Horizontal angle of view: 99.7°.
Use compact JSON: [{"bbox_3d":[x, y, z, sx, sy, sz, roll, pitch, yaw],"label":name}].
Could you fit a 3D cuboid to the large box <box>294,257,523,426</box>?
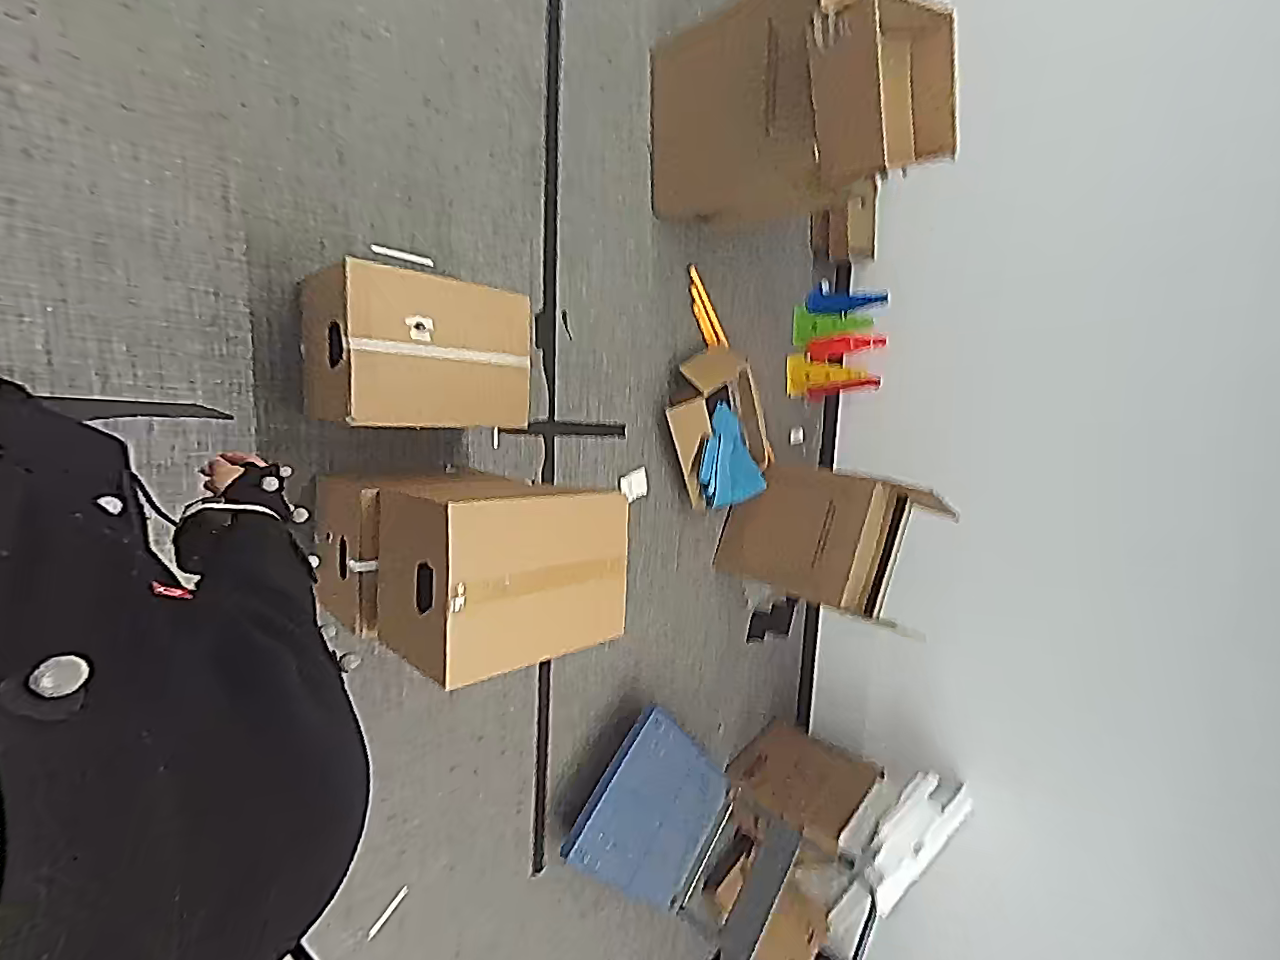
[{"bbox_3d":[-0.523,-0.291,1.241,0.408,0.320,0.320,-5,100,-45],"label":"large box"}]
